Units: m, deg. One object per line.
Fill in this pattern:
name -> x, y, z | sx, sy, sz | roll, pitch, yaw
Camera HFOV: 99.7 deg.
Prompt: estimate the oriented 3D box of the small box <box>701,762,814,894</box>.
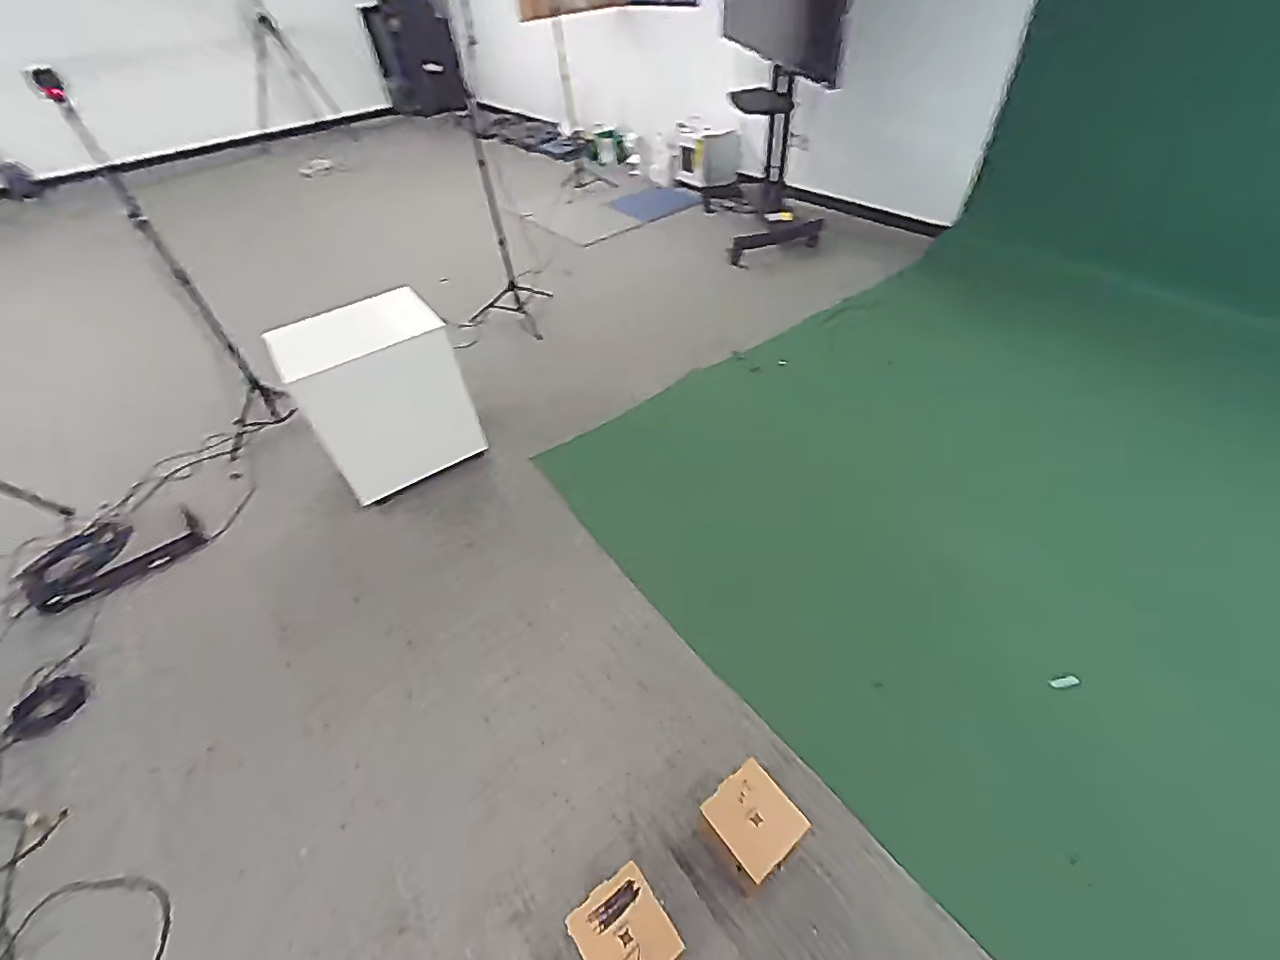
small box -> 0.251, 0.769, 1.189 | 0.168, 0.176, 0.179 | -30, 50, -24
